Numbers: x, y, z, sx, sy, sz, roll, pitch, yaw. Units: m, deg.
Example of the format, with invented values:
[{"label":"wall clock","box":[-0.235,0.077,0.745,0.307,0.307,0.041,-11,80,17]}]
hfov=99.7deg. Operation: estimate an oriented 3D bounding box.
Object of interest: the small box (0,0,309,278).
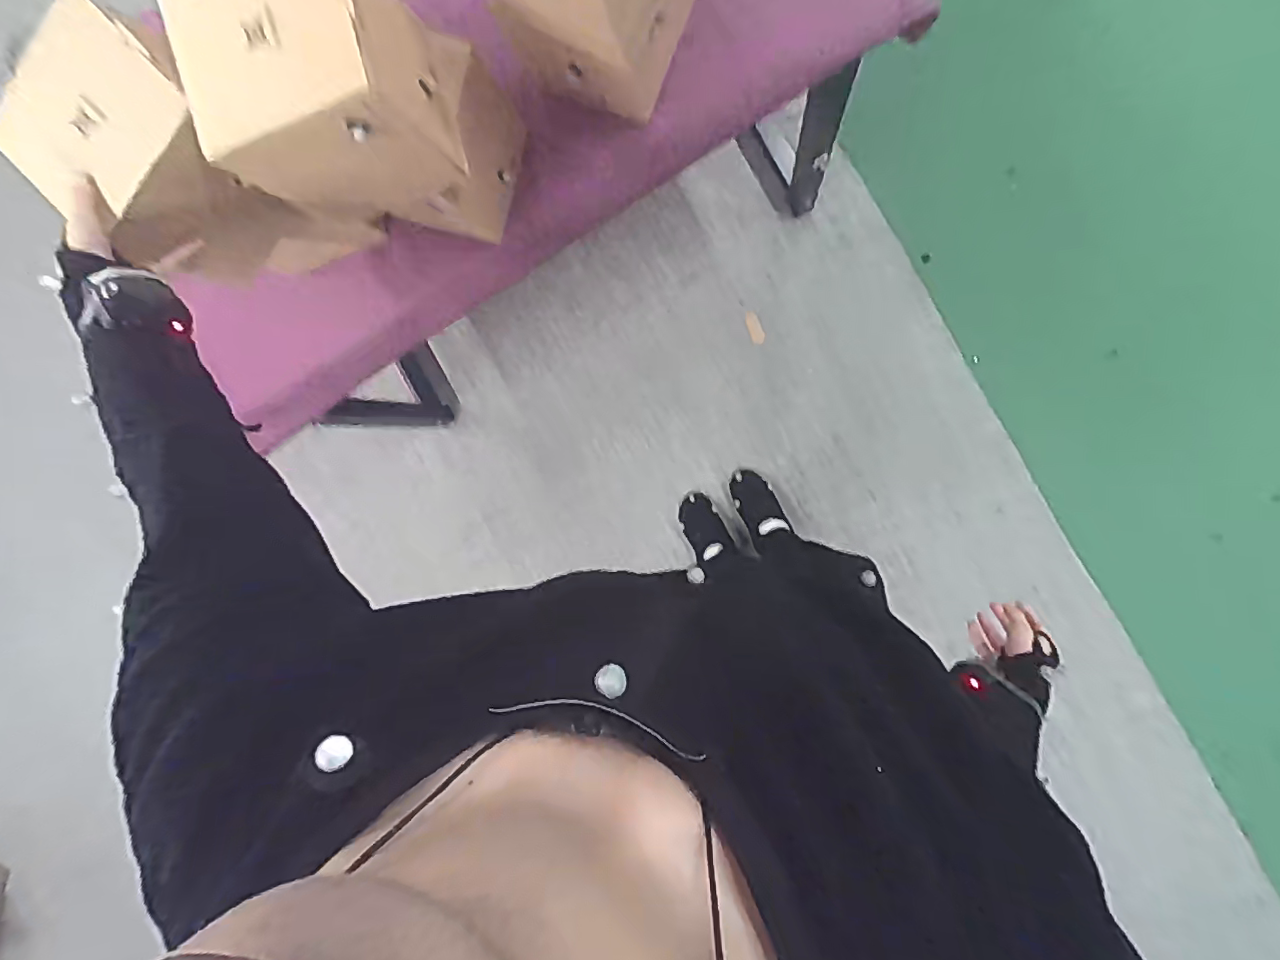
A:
[{"label":"small box","box":[-0.497,-0.346,0.572,0.168,0.176,0.179,46,103,0]}]

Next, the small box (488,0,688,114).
[{"label":"small box","box":[-0.049,-0.582,0.640,0.168,0.176,0.179,23,99,8]}]

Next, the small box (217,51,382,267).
[{"label":"small box","box":[-0.493,-0.413,0.733,0.179,0.176,0.168,-16,93,10]}]

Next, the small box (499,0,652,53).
[{"label":"small box","box":[-0.061,-0.533,0.477,0.179,0.176,0.168,31,99,8]}]
